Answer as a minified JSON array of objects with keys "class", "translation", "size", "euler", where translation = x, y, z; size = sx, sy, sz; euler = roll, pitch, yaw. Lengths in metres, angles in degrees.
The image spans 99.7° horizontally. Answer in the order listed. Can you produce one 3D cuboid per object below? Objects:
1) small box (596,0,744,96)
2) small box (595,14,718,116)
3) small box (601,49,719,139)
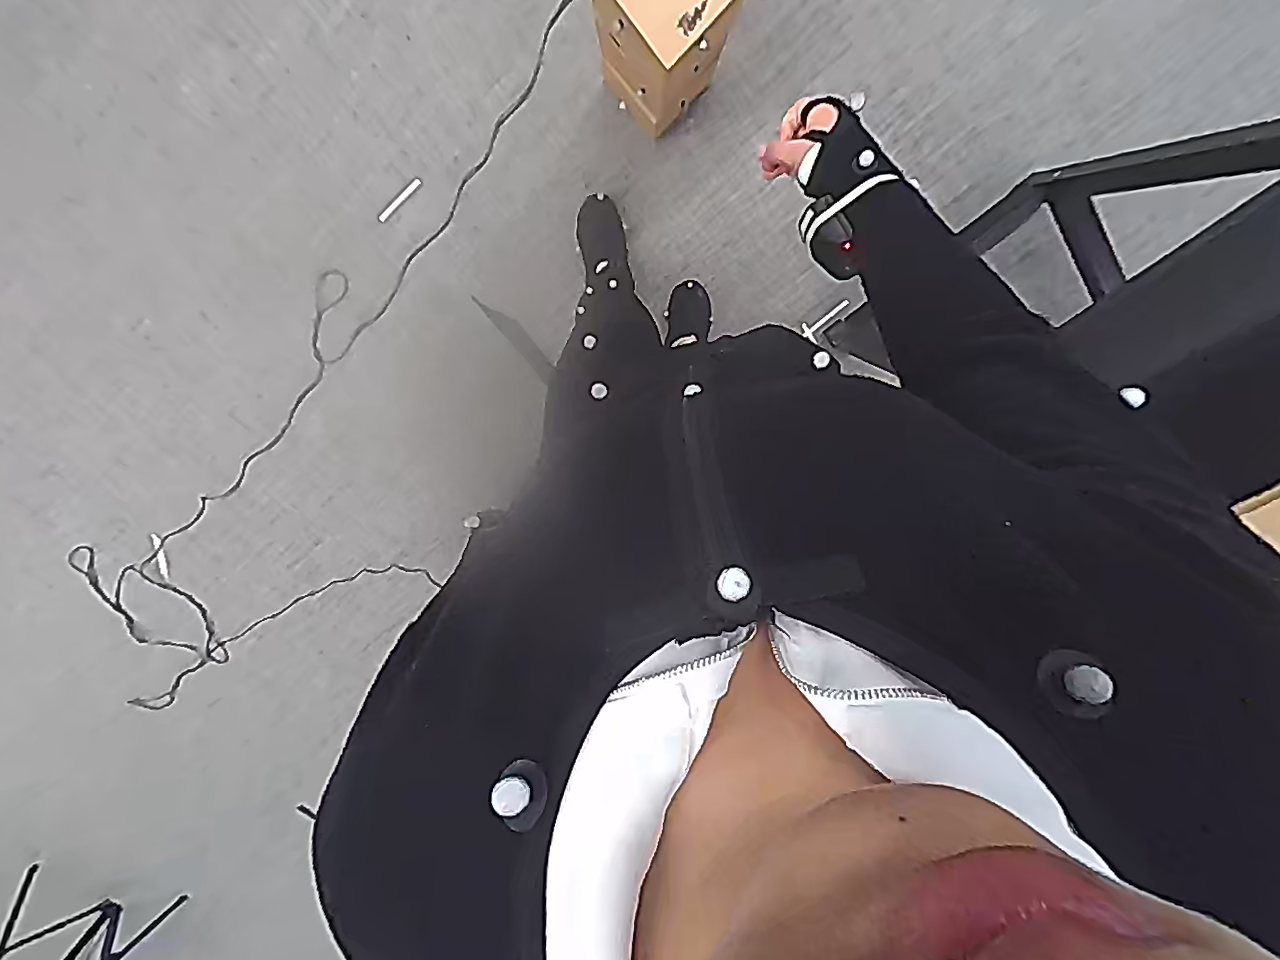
[{"class":"small box","translation":[0.041,-0.738,0.822],"size":[0.168,0.176,0.179],"euler":[-41,106,14]},{"class":"small box","translation":[0.040,-0.803,0.972],"size":[0.168,0.176,0.179],"euler":[41,105,-16]},{"class":"small box","translation":[0.038,-0.857,1.126],"size":[0.179,0.176,0.168],"euler":[-40,106,15]}]
